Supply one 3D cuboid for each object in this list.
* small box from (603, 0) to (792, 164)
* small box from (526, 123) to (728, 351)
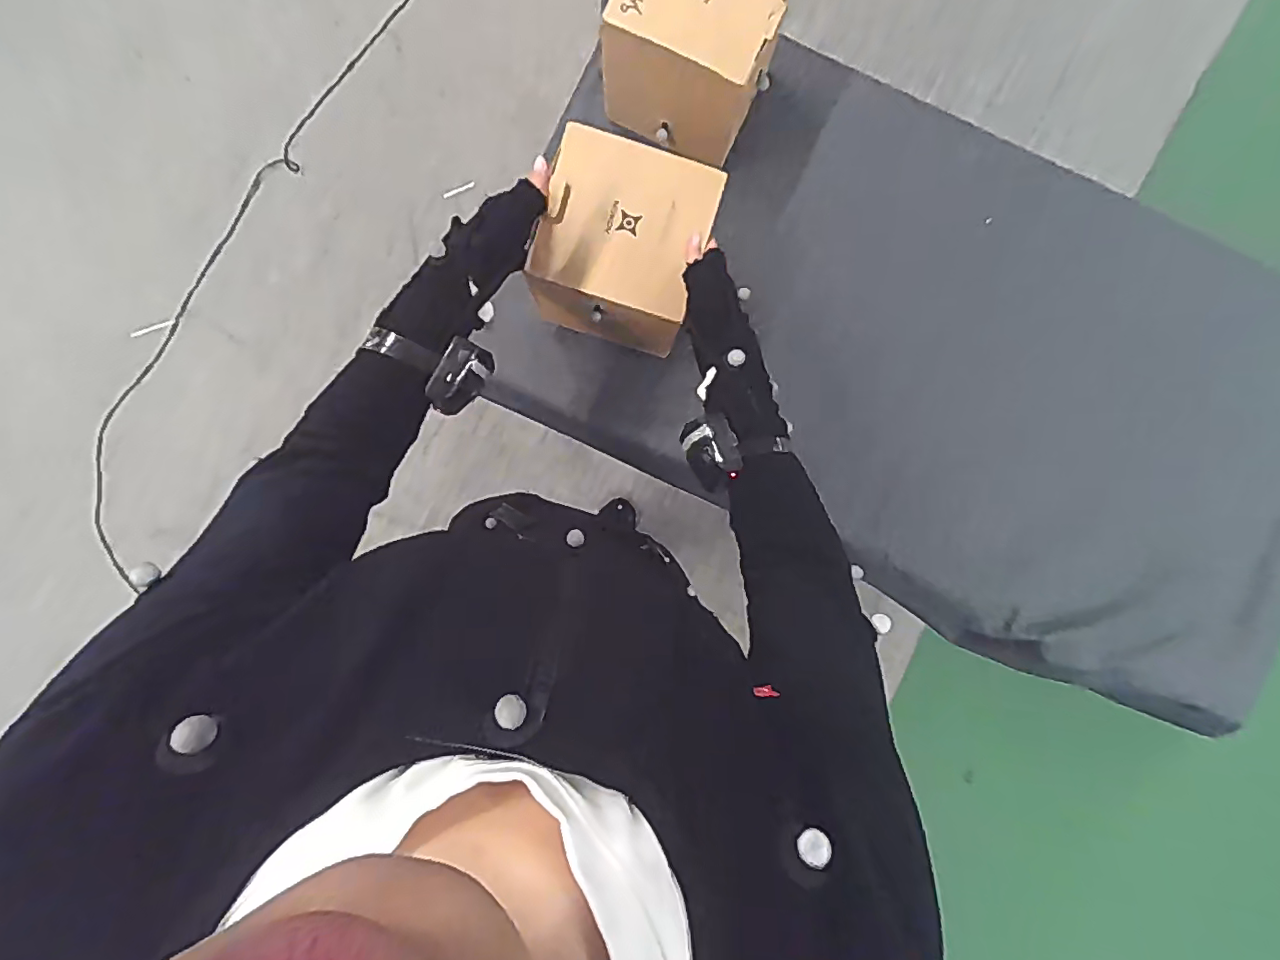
[{"bbox_3d":[0.067,-0.537,0.676,0.179,0.176,0.168,25,89,-2],"label":"small box"},{"bbox_3d":[-0.018,-0.266,0.637,0.179,0.176,0.168,16,90,-4],"label":"small box"}]
